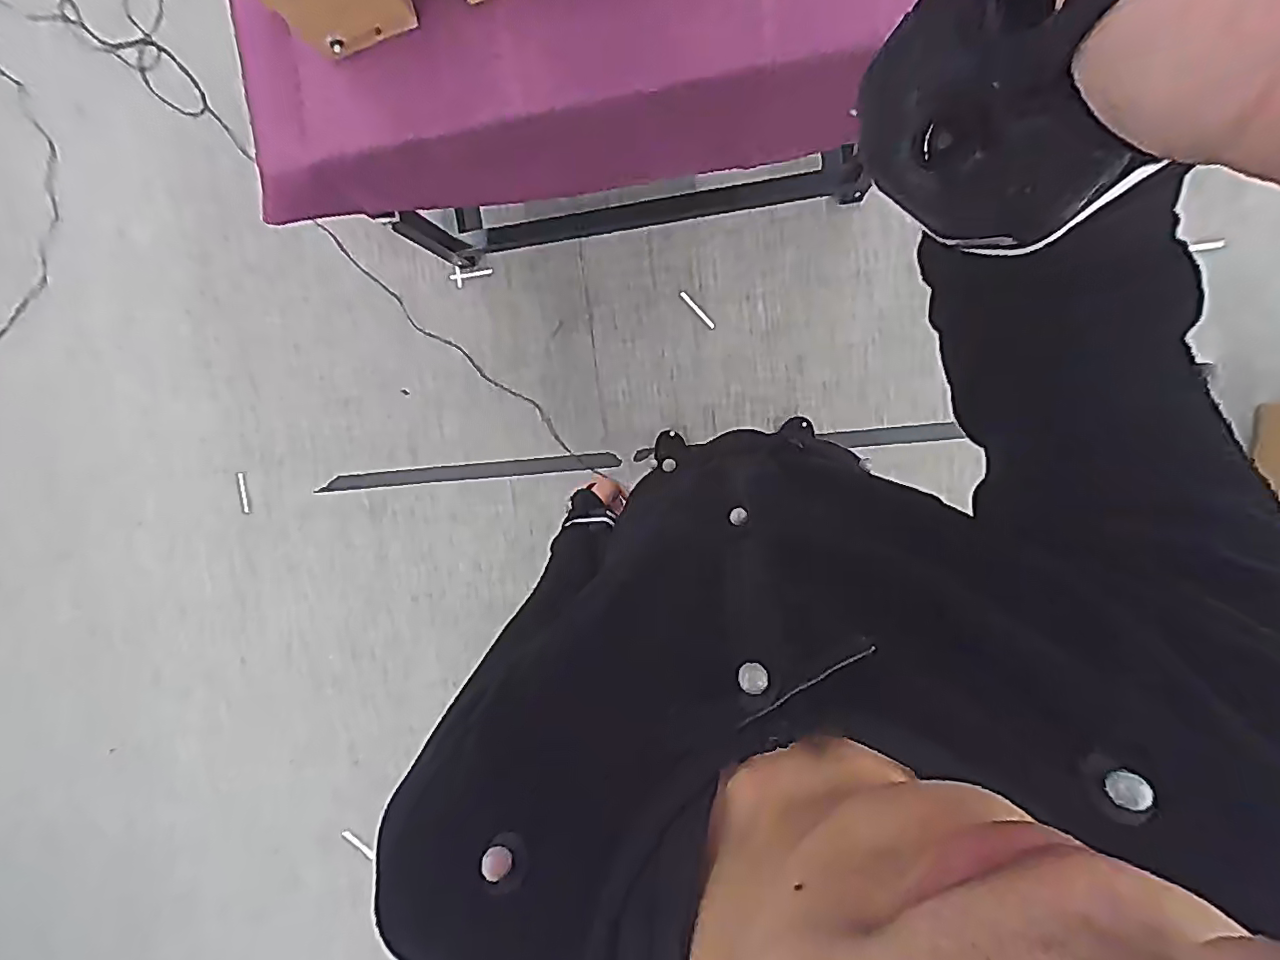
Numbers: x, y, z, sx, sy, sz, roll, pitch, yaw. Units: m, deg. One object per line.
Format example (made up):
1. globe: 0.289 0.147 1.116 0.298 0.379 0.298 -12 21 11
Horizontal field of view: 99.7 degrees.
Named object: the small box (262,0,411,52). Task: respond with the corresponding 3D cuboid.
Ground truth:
1. small box: -0.471 -0.786 0.801 0.168 0.176 0.179 -15 94 9
